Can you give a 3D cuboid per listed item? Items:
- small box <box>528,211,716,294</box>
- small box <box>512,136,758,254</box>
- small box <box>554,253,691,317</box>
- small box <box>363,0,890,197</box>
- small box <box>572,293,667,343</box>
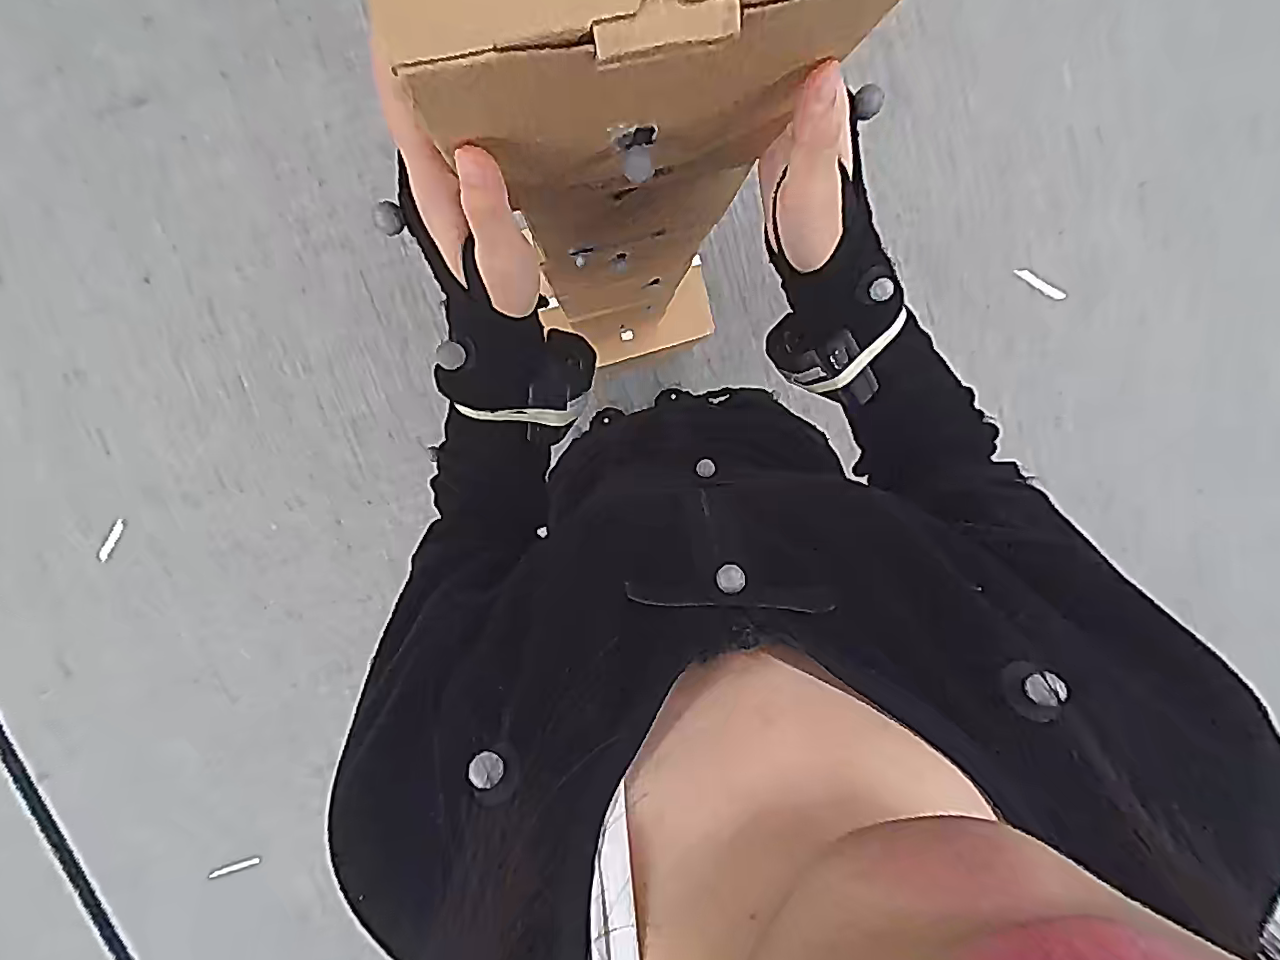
[{"bbox_3d":[-0.035,-0.310,0.572,0.179,0.176,0.168,-15,100,-1],"label":"small box"},{"bbox_3d":[-0.024,-0.288,0.408,0.168,0.176,0.179,-14,98,-1],"label":"small box"},{"bbox_3d":[-0.044,-0.332,0.731,0.179,0.176,0.168,-15,99,-1],"label":"small box"},{"bbox_3d":[-0.021,-0.234,0.220,0.168,0.176,0.179,-13,105,-3],"label":"small box"},{"bbox_3d":[-0.059,-0.377,1.057,0.179,0.176,0.168,-19,100,-1],"label":"small box"}]
